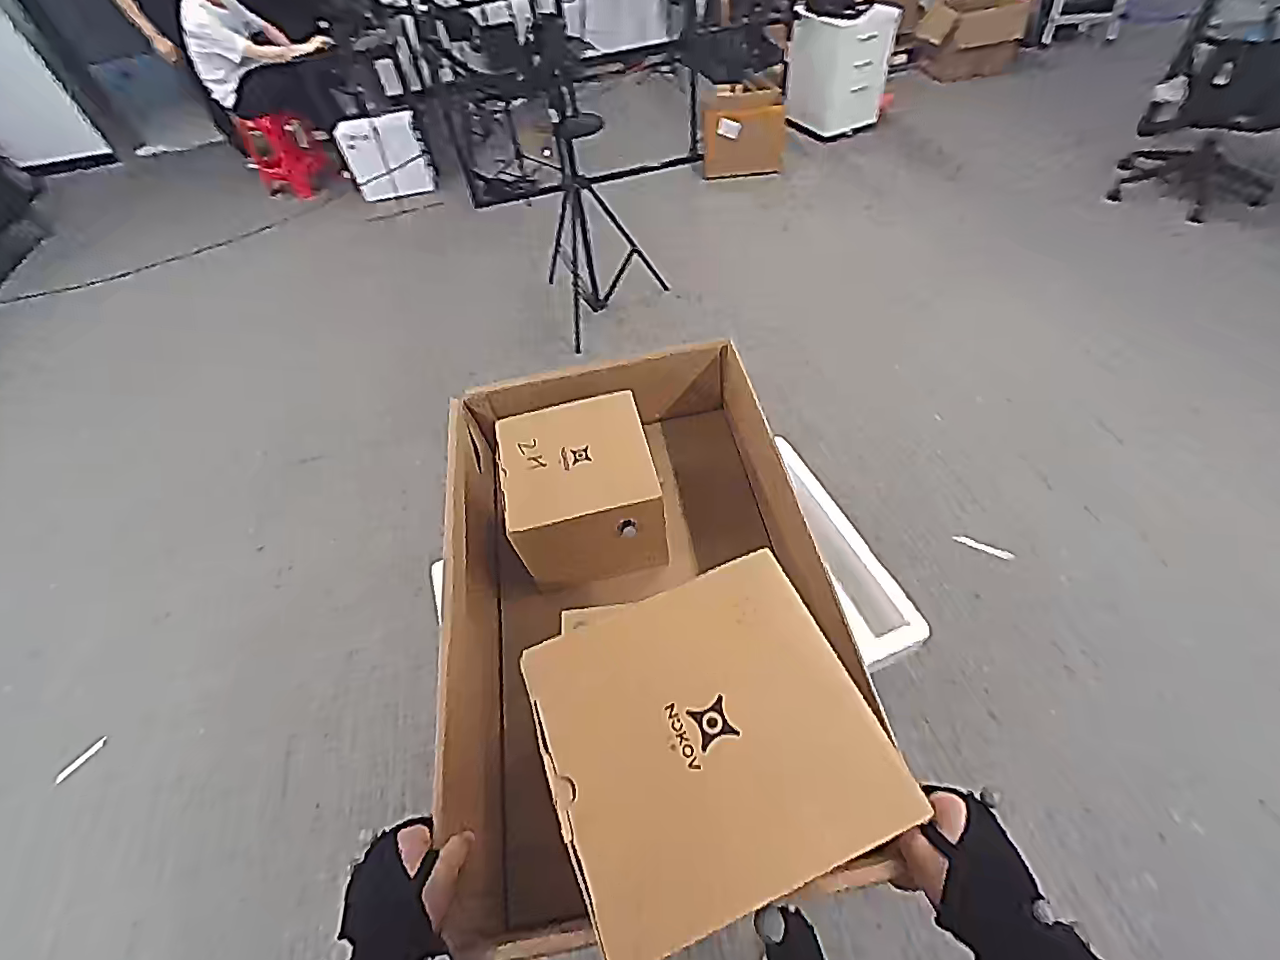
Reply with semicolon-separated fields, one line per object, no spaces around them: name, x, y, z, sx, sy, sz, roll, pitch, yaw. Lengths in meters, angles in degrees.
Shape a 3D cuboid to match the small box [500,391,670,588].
small box;-0.065;0.017;0.691;0.179;0.176;0.168;-14;55;-4
